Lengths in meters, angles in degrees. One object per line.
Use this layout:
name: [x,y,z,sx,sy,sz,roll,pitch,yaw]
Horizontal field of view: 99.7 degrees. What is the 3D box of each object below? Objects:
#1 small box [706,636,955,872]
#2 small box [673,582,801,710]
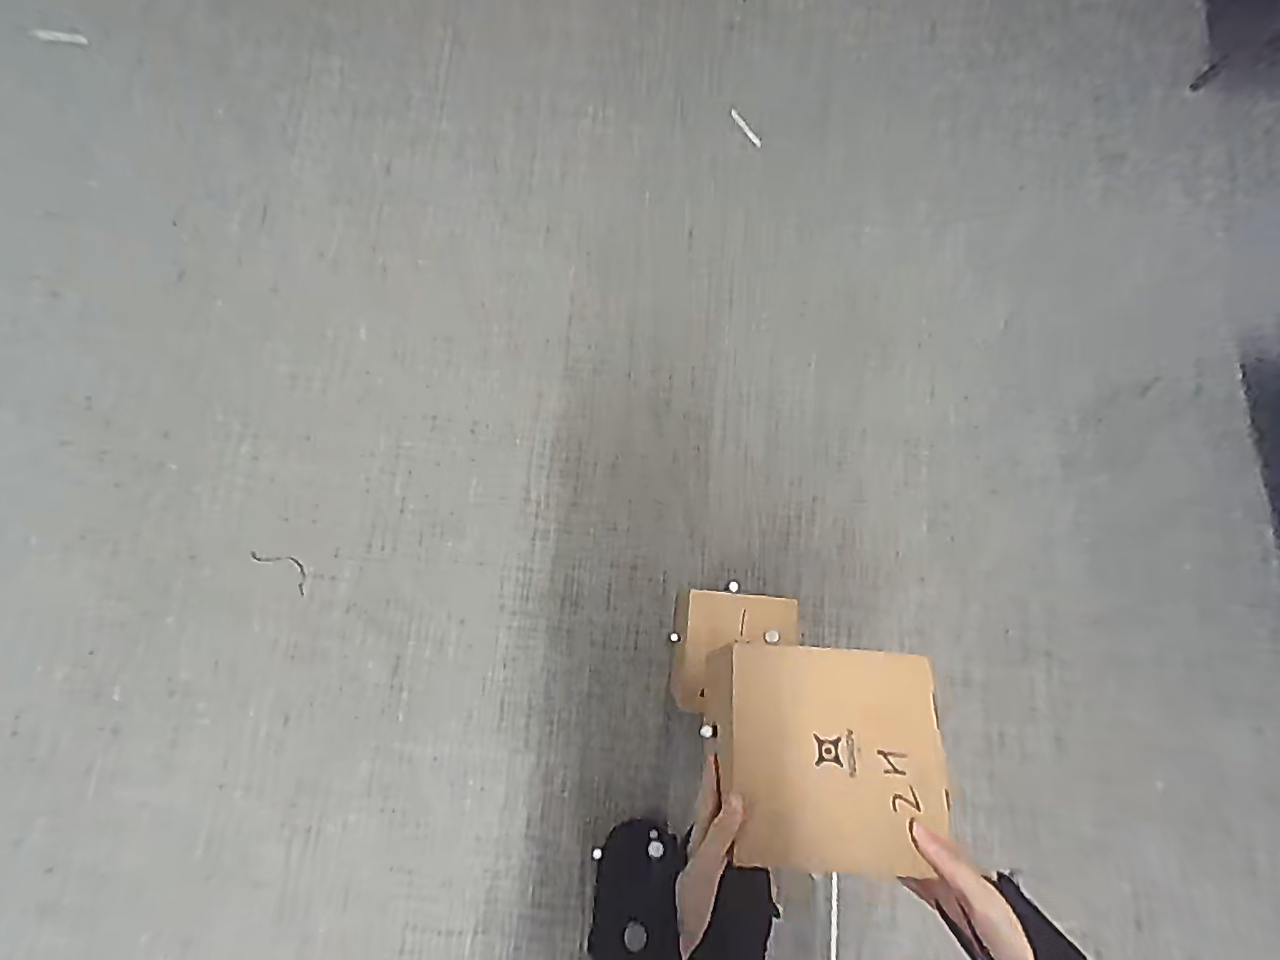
small box: [0.160,0.247,0.518,0.179,0.176,0.168,4,70,0]
small box: [0.146,0.260,0.861,0.168,0.176,0.179,6,80,-1]
